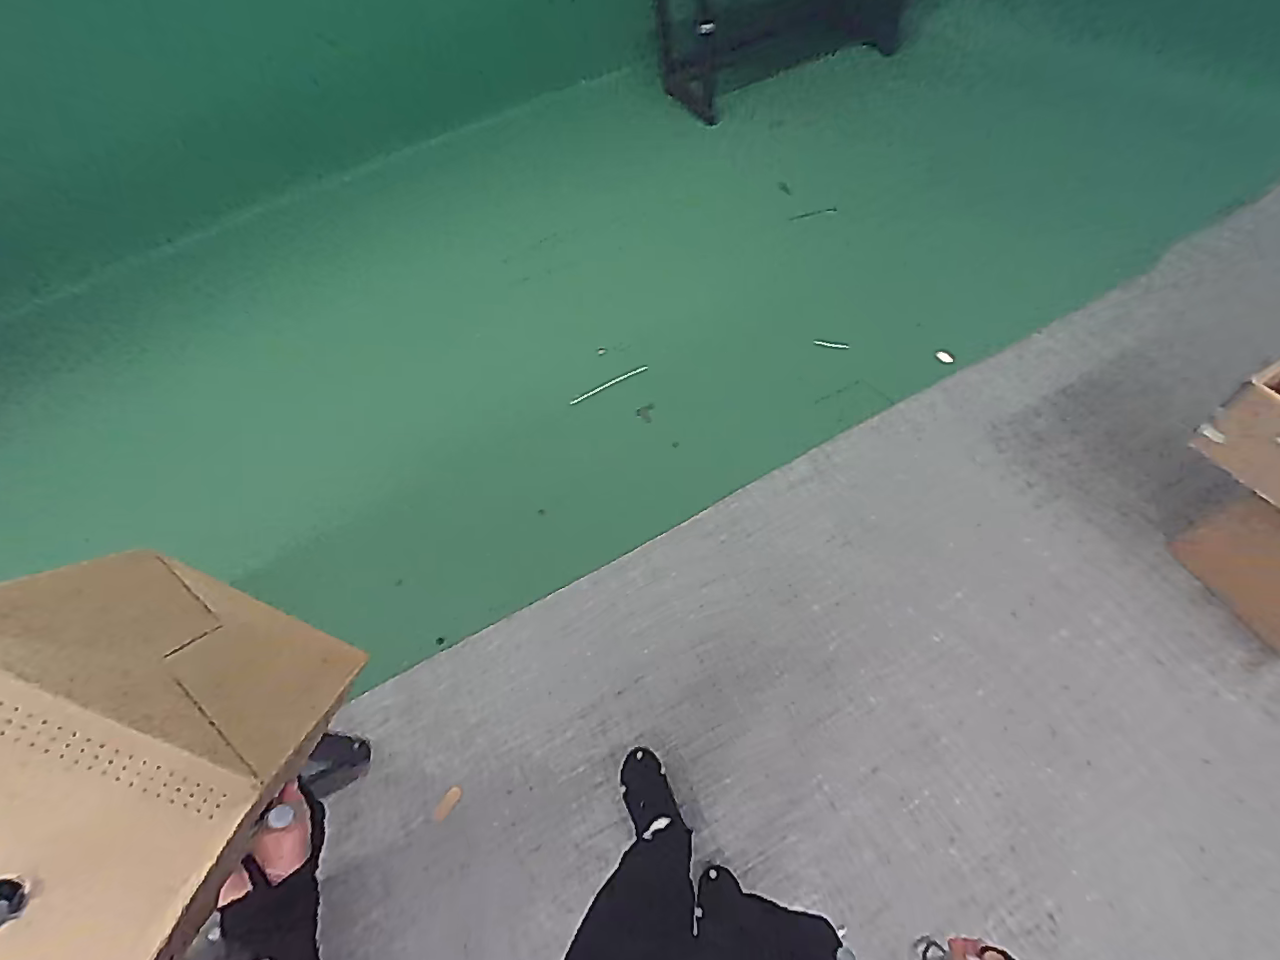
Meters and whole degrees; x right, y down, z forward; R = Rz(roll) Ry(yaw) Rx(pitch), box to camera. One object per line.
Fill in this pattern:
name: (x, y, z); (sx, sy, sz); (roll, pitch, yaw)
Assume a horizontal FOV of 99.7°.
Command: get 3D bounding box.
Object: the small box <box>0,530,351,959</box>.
small box: (-0.305, 0.153, 0.320); (0.179, 0.168, 0.176); (33, 87, -11)
